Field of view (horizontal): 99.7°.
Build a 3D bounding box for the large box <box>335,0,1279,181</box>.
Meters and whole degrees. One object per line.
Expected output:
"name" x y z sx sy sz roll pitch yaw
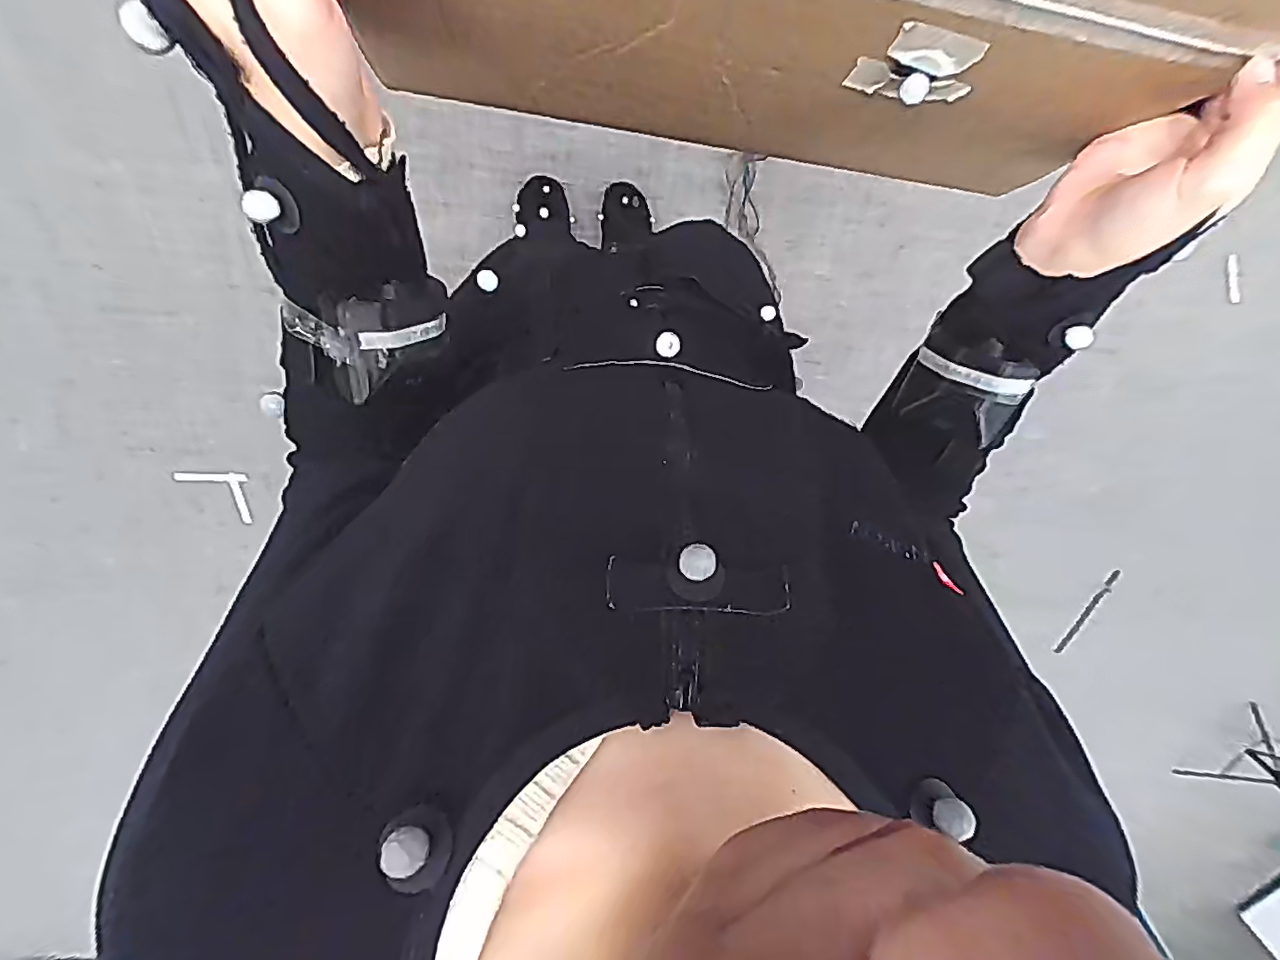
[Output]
"large box" 0.075 -0.348 0.182 0.408 0.320 0.320 4 98 -8
